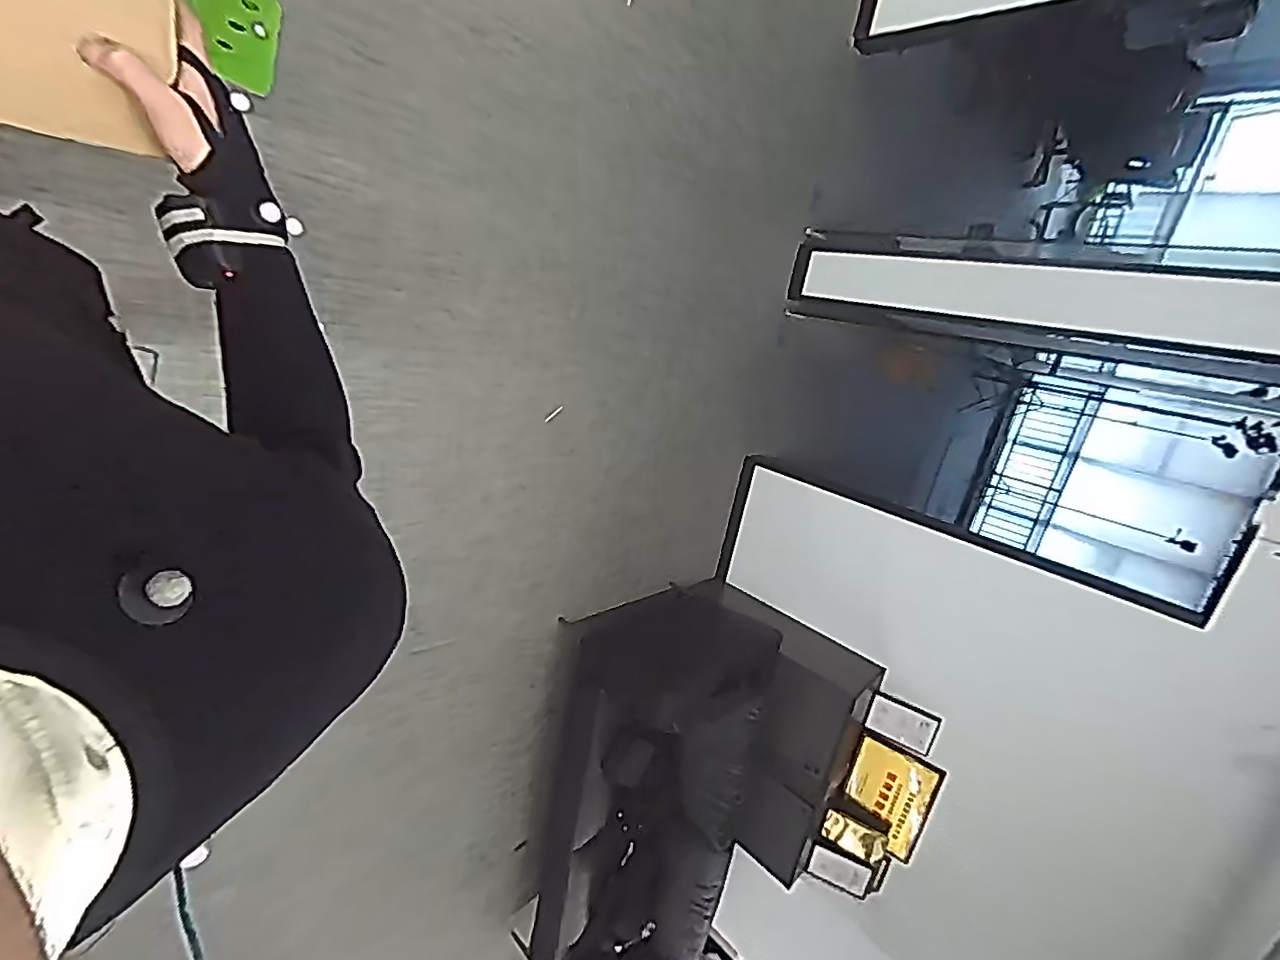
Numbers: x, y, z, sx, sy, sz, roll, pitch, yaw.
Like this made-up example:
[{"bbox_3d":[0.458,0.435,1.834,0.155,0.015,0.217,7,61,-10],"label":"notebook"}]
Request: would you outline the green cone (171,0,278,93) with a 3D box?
[{"bbox_3d":[-0.750,-0.897,1.008,0.200,0.368,0.202,1,107,-49],"label":"green cone"}]
